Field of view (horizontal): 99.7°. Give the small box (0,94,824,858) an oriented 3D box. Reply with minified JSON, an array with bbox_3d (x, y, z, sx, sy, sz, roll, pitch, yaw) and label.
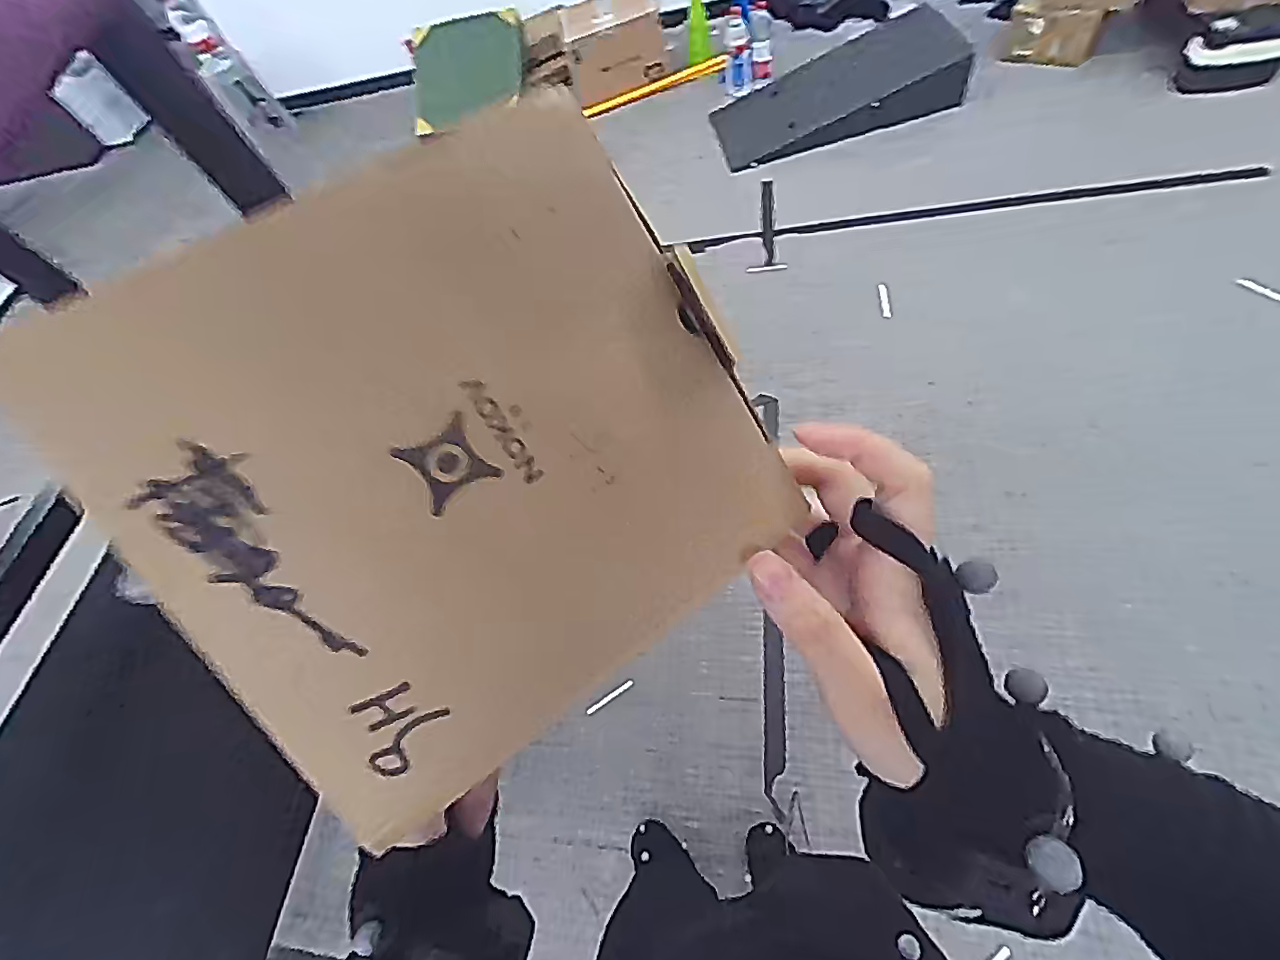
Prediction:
[{"bbox_3d":[-0.066,-0.007,0.235,0.179,0.176,0.168,-33,96,-15],"label":"small box"}]
